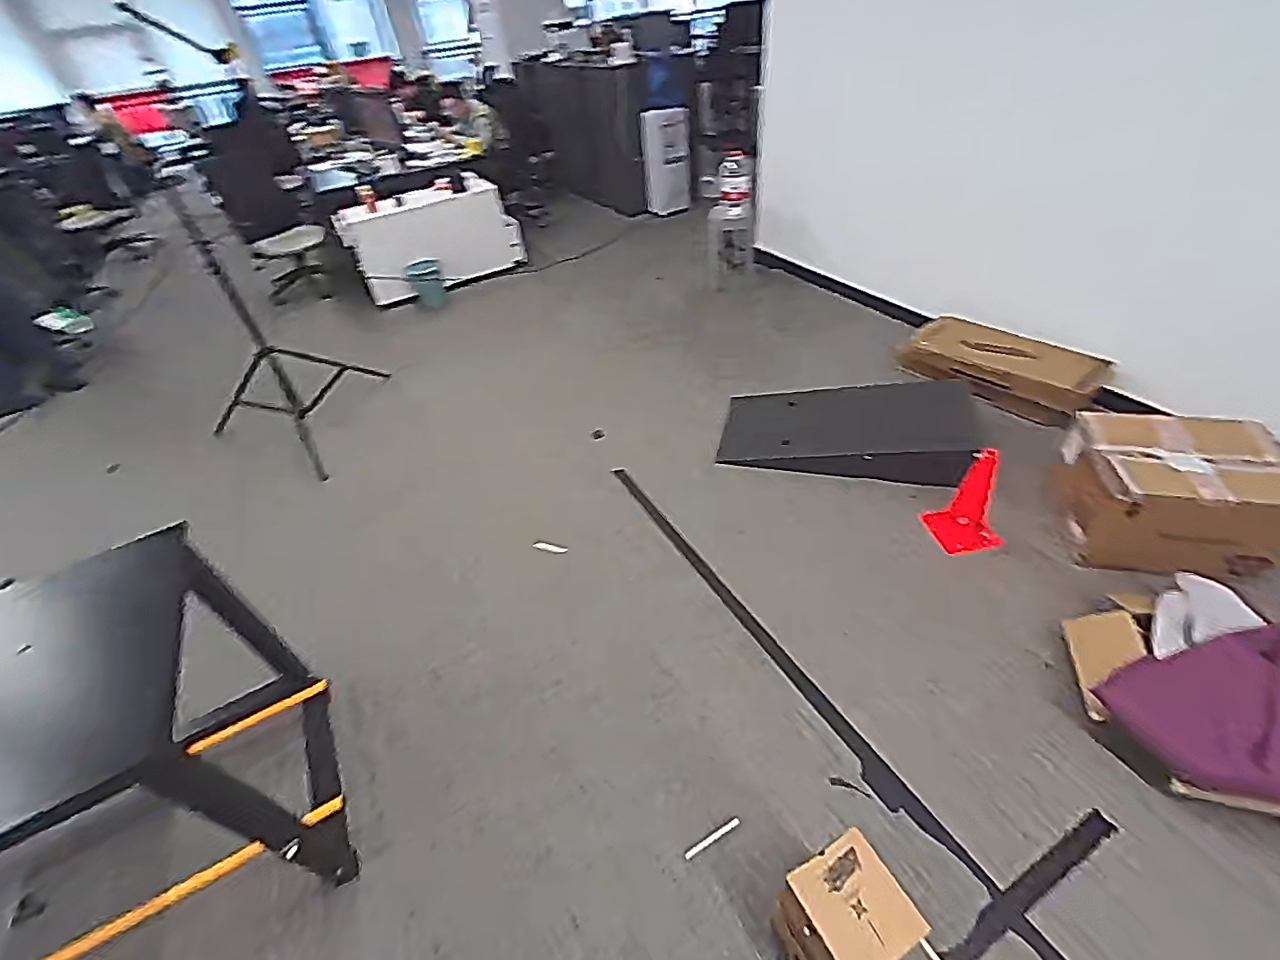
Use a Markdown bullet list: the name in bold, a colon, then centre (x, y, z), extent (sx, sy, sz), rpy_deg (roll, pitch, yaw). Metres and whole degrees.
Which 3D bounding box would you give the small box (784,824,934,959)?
- **small box**: centre (0.379, 0.772, 0.972), extent (0.168, 0.176, 0.179), rpy_deg (-23, 45, -16)

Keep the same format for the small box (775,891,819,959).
- **small box**: centre (0.388, 0.895, 1.082), extent (0.179, 0.176, 0.168), rpy_deg (-23, 44, -16)
